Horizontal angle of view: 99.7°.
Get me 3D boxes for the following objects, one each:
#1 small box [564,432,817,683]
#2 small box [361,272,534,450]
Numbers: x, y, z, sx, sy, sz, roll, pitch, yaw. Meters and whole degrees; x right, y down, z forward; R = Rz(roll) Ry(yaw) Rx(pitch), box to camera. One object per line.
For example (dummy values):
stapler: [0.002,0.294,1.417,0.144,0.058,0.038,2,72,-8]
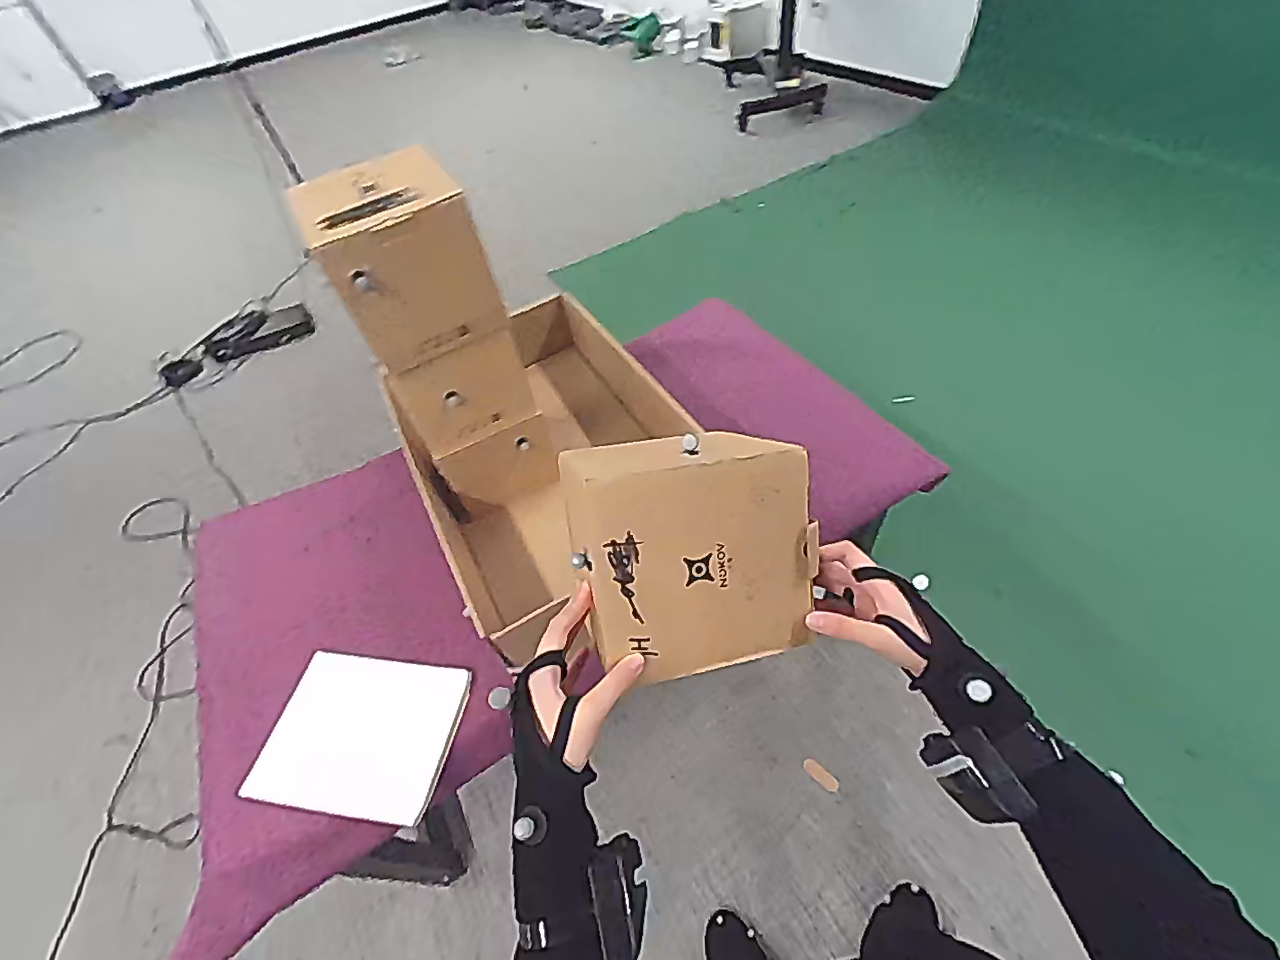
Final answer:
small box: [0.035,0.050,0.483,0.179,0.168,0.176,-7,10,-13]
small box: [-0.276,-0.167,0.797,0.168,0.176,0.179,-27,53,-13]
